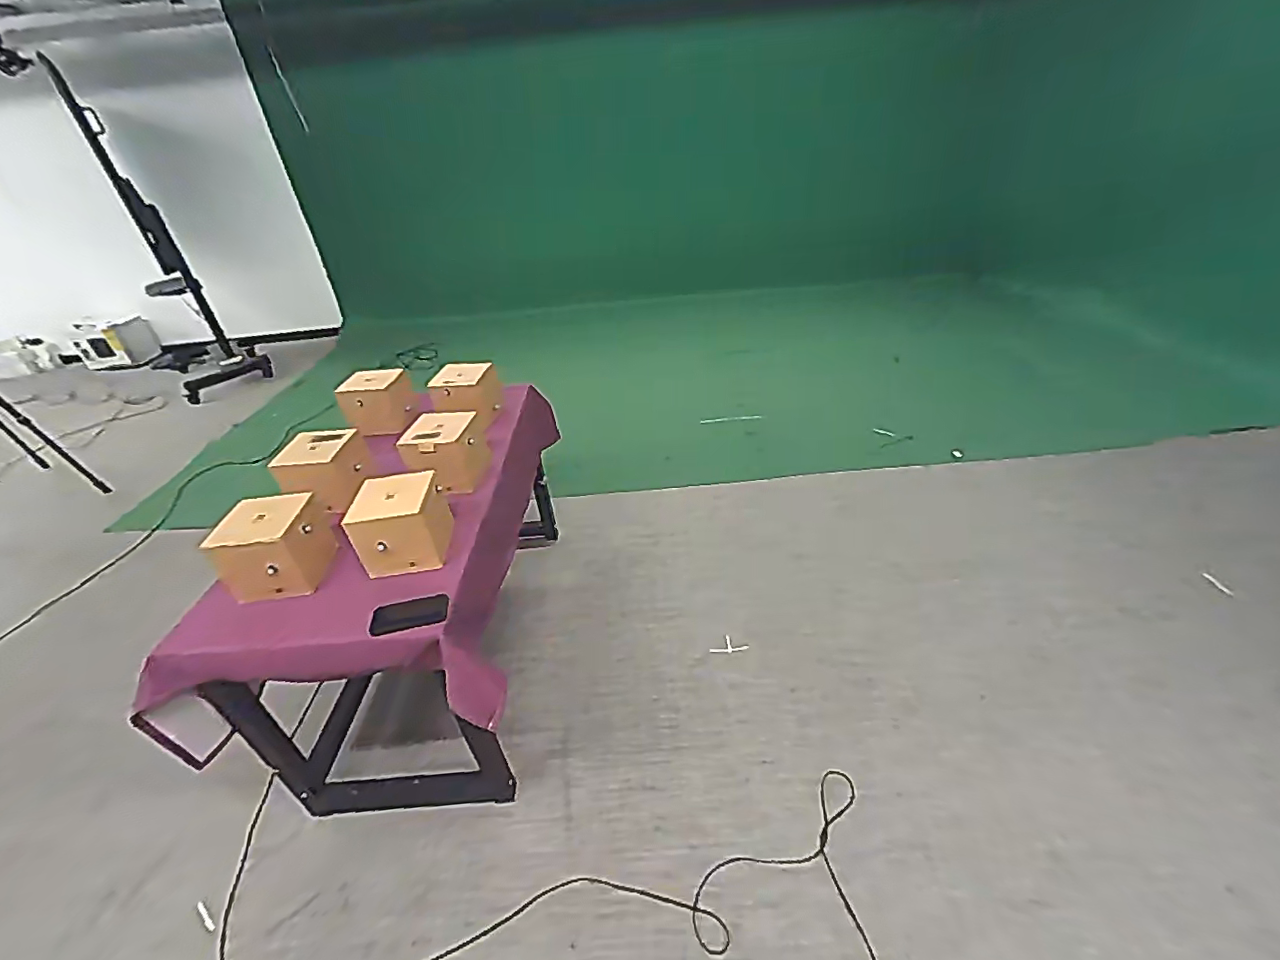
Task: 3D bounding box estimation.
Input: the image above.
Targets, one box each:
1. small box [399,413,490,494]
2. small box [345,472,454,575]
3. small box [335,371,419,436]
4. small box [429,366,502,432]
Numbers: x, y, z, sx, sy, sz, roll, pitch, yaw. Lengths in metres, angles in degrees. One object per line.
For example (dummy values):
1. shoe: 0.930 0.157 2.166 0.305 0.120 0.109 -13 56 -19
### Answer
1. small box: -0.539 -0.071 1.520 0.168 0.176 0.179 -1 33 7
2. small box: -0.548 0.107 1.261 0.168 0.176 0.179 -8 33 -3
3. small box: -0.892 -0.259 1.850 0.179 0.176 0.168 -2 35 4
4. small box: -0.580 -0.275 1.827 0.168 0.176 0.179 -1 34 8
